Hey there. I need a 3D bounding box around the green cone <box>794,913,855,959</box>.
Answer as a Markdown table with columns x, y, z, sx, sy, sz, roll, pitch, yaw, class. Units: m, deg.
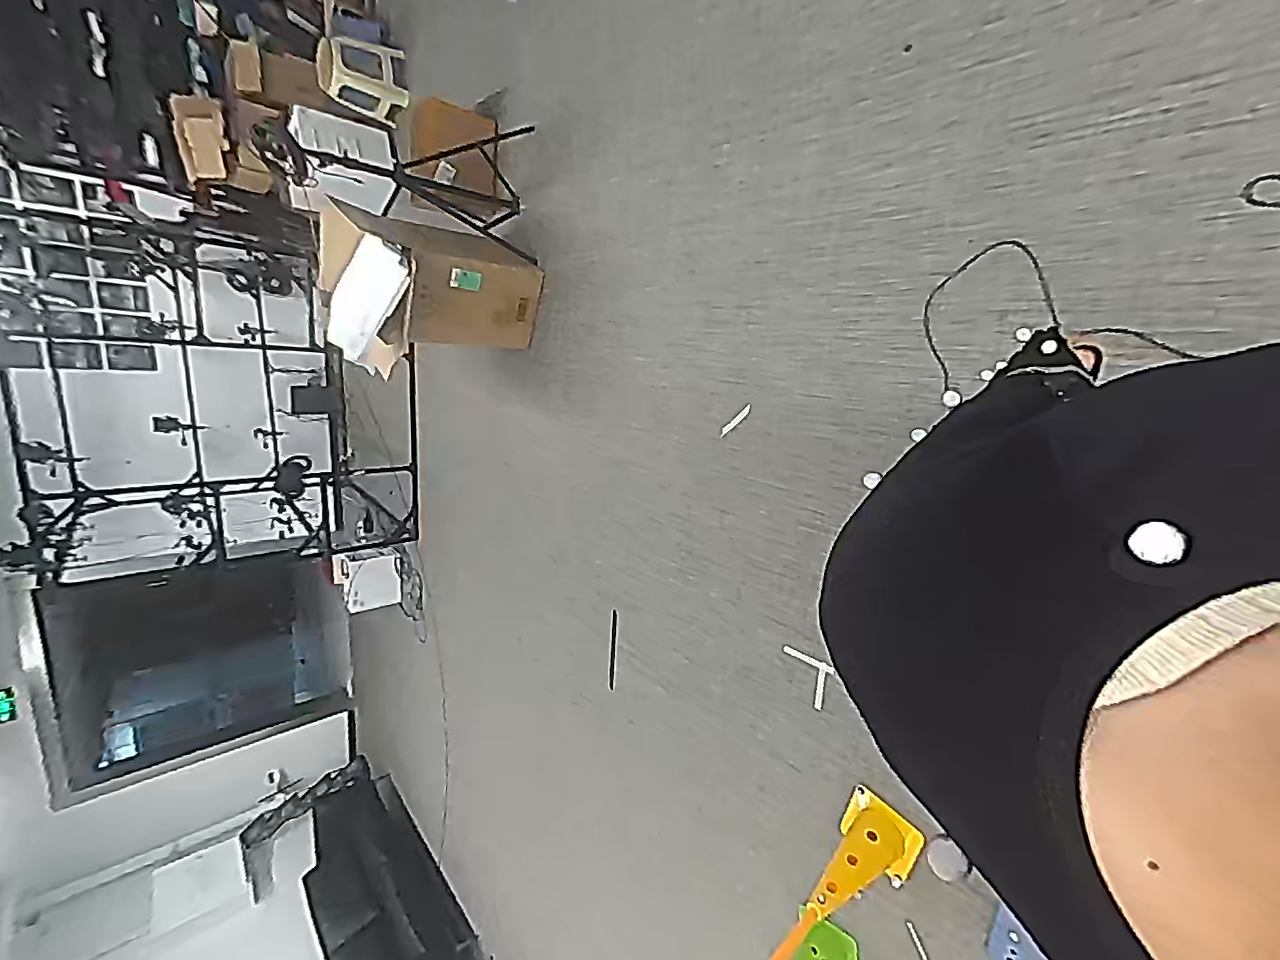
| x | y | z | sx | sy | sz | roll | pitch | yaw | class |
| --- | --- | --- | --- | --- | --- | --- | --- | --- | --- |
| 0.454 | 1.512 | 1.581 | 0.200 | 0.368 | 0.202 | -1 | 93 | 49 | green cone |
